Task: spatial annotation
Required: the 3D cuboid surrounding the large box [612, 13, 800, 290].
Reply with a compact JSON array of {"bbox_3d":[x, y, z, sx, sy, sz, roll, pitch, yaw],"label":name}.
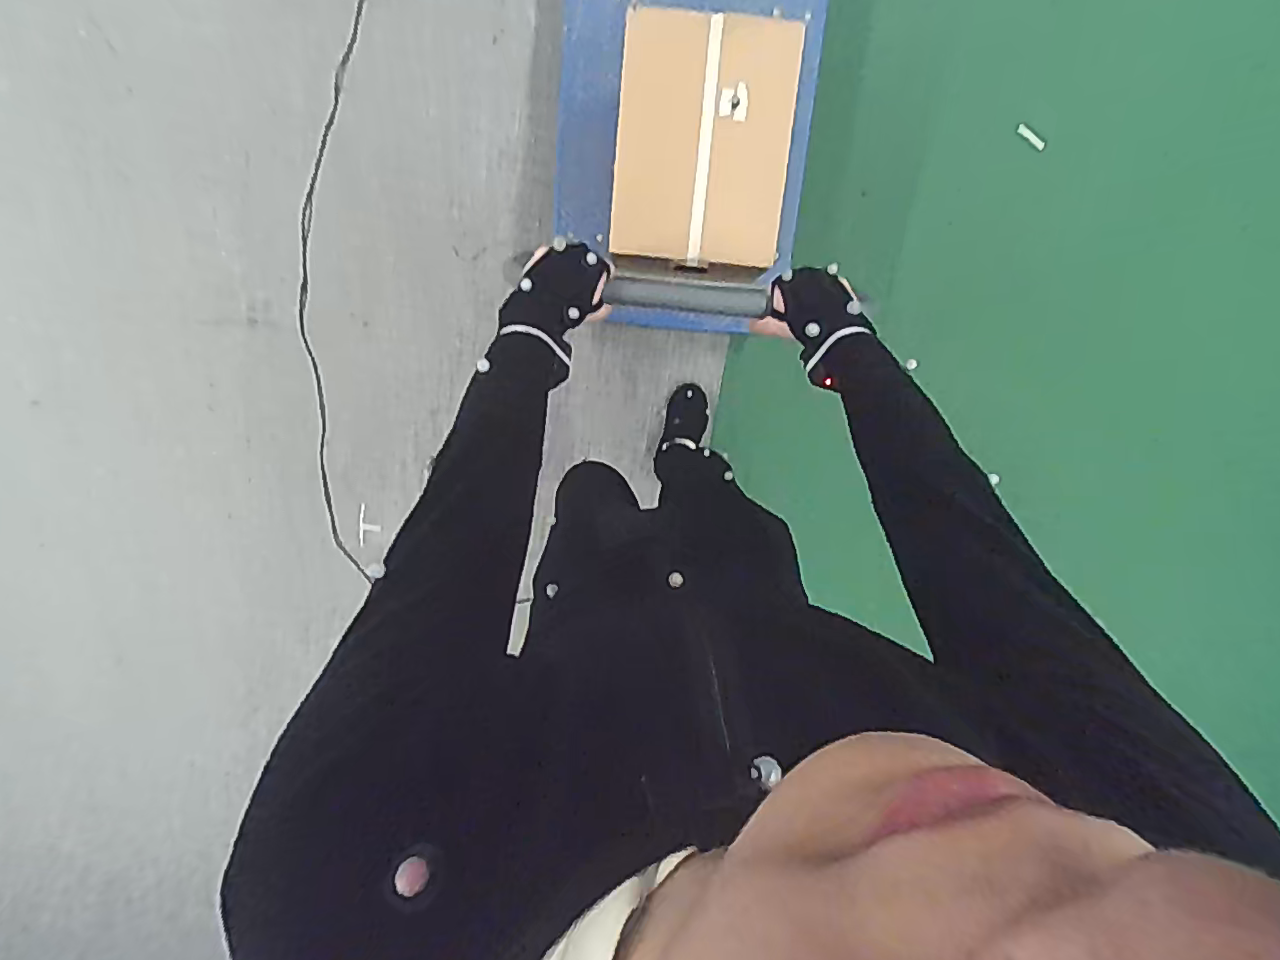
[{"bbox_3d":[0.116,-0.633,1.123,0.320,0.320,0.408,5,100,-2],"label":"large box"}]
